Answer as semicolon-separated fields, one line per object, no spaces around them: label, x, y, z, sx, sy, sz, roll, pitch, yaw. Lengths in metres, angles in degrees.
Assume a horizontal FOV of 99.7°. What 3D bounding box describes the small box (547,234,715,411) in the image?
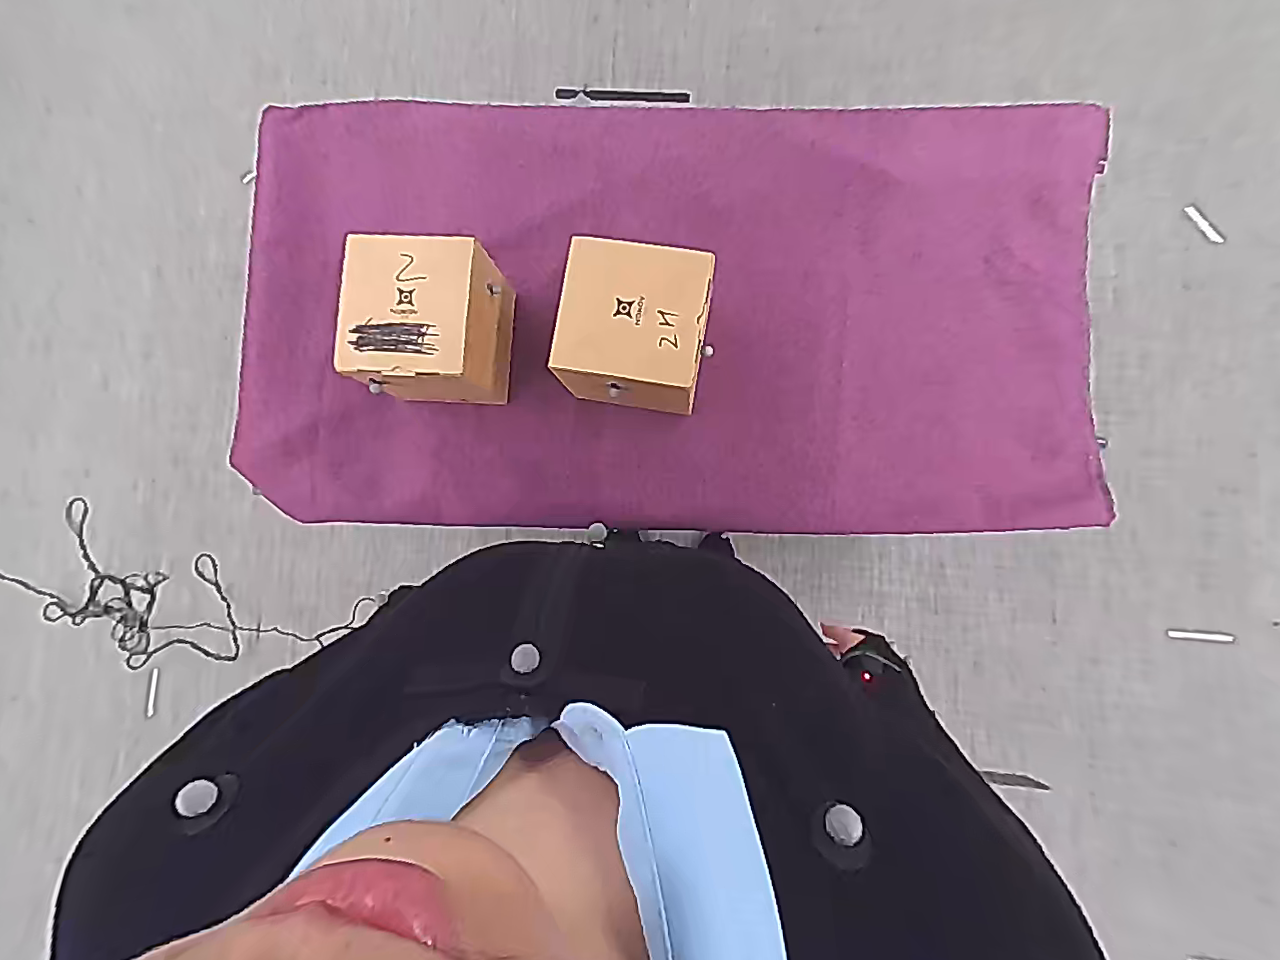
small box;-0.005;-0.195;0.715;0.179;0.176;0.168;10;87;5
